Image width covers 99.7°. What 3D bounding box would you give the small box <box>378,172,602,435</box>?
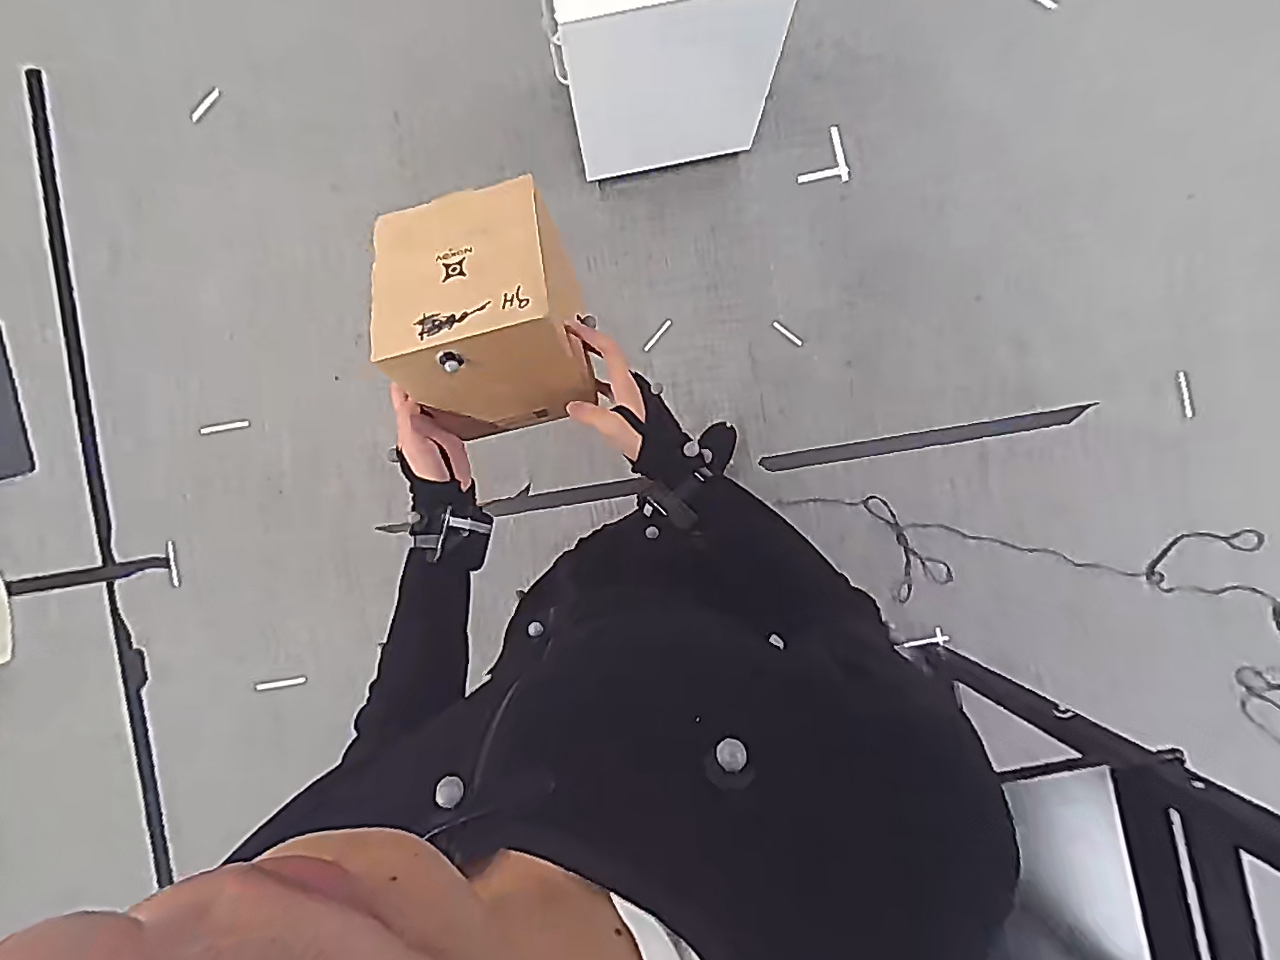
[{"bbox_3d":[-0.145,-0.171,0.565,0.168,0.176,0.179,-12,67,7],"label":"small box"}]
